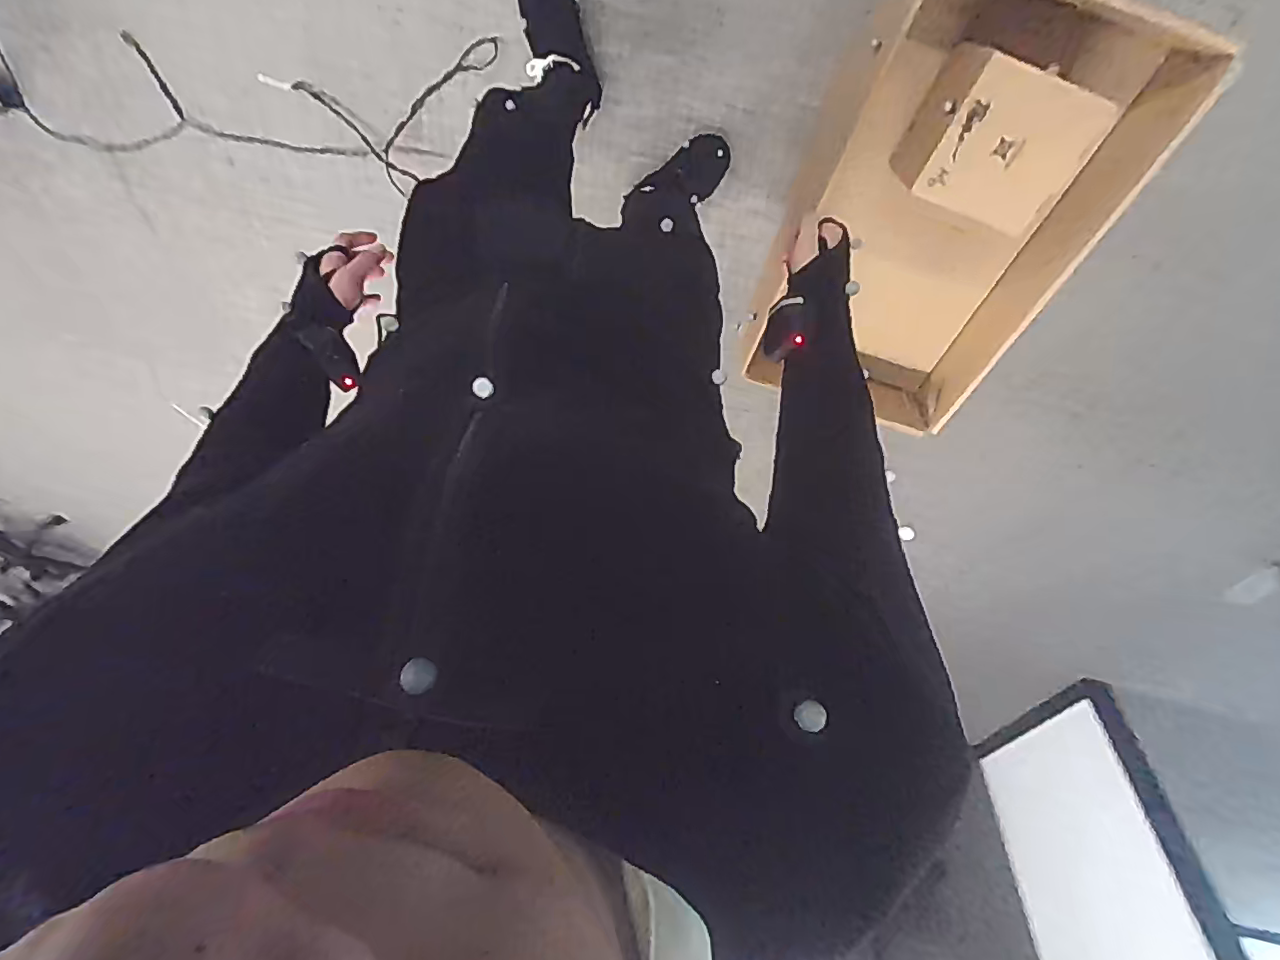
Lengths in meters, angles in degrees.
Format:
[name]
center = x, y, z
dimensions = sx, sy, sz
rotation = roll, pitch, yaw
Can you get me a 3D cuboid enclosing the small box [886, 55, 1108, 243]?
[small box]
center = 0.485, -0.472, 0.766
dimensions = 0.179, 0.176, 0.168
rotation = 19, 132, -6
